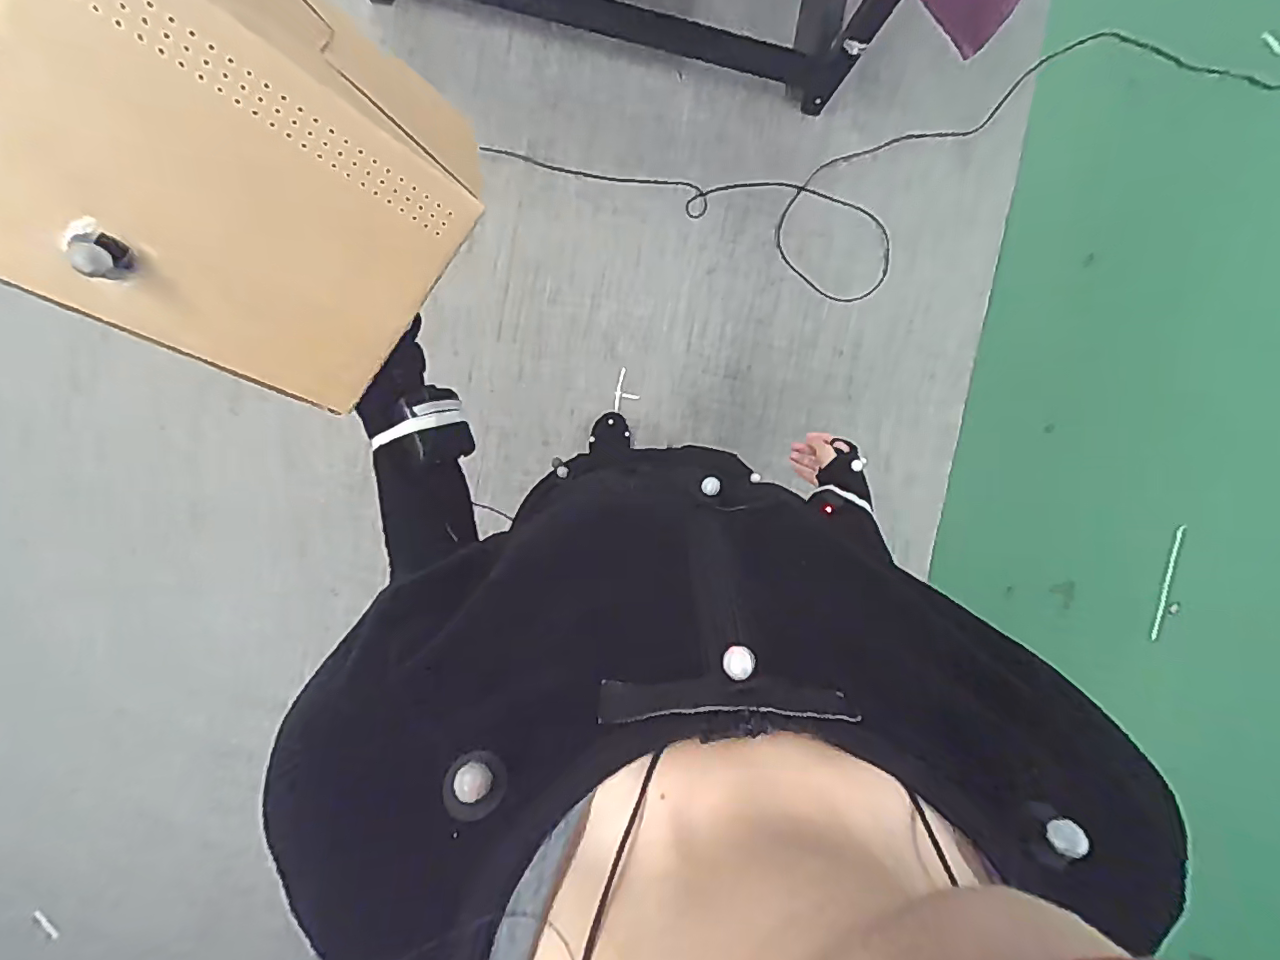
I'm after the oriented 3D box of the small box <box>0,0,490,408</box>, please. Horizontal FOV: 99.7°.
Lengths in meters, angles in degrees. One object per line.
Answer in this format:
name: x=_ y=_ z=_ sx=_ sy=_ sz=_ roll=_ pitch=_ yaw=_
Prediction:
small box: x=-0.214 y=-0.181 z=0.318 sx=0.179 sy=0.168 sz=0.176 roll=25 pitch=124 yaw=-39
